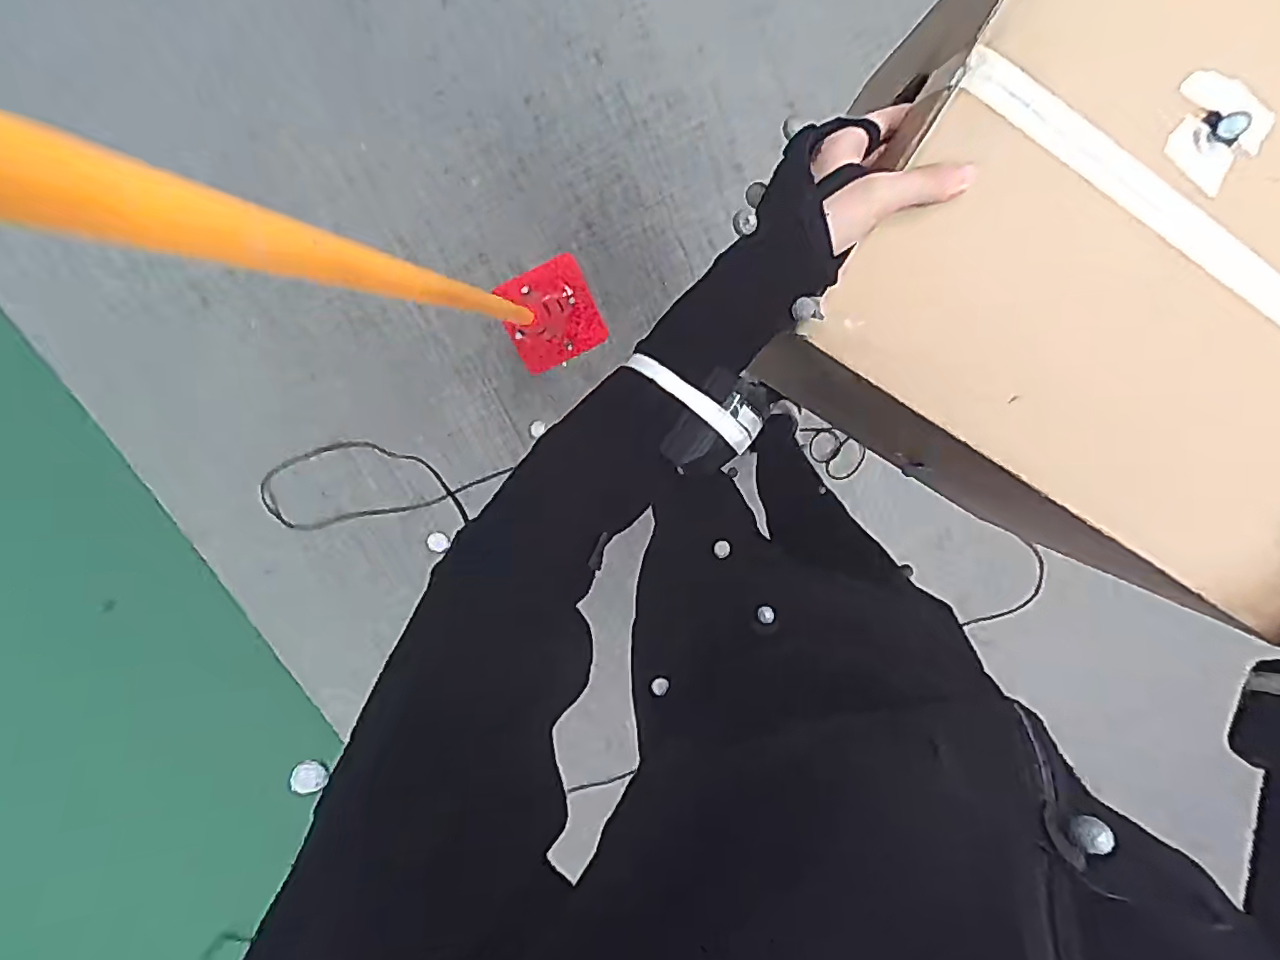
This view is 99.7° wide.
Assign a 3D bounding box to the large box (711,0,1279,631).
[{"bbox_3d":[0.326,-0.143,0.476,0.408,0.320,0.320,29,99,-7],"label":"large box"}]
